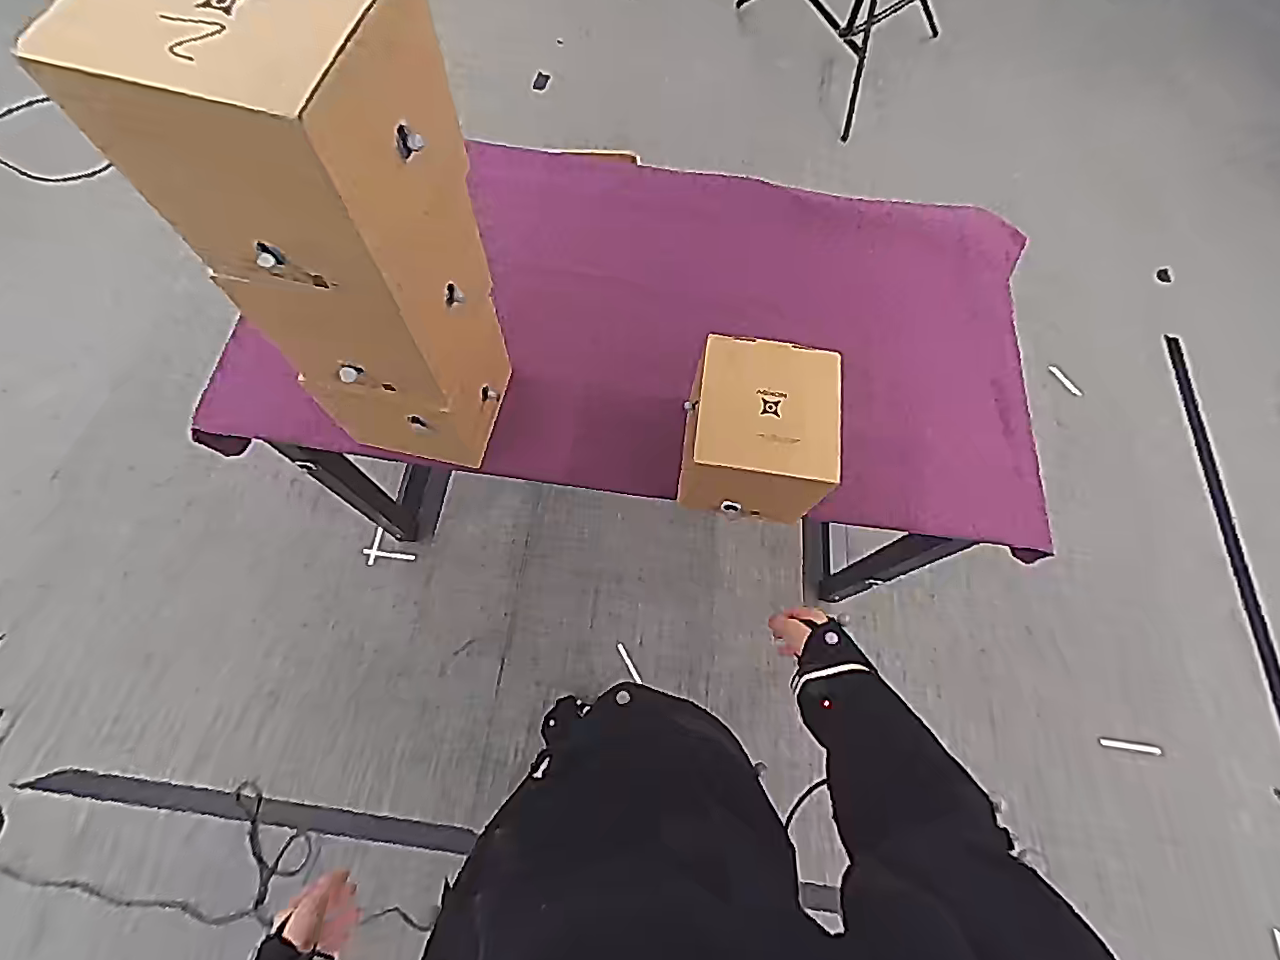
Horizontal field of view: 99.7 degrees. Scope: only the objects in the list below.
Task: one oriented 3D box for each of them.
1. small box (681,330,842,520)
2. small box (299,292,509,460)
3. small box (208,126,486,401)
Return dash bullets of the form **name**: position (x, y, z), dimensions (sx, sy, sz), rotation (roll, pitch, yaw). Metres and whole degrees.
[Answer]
- **small box**: position (0.148, -0.063, 0.698), dimensions (0.168, 0.176, 0.179), rotation (8, 70, 1)
- **small box**: position (-0.282, -0.140, 0.698), dimensions (0.179, 0.176, 0.168), rotation (12, 68, 1)
- **small box**: position (-0.267, -0.207, 0.549), dimensions (0.168, 0.176, 0.179), rotation (11, 69, 0)
